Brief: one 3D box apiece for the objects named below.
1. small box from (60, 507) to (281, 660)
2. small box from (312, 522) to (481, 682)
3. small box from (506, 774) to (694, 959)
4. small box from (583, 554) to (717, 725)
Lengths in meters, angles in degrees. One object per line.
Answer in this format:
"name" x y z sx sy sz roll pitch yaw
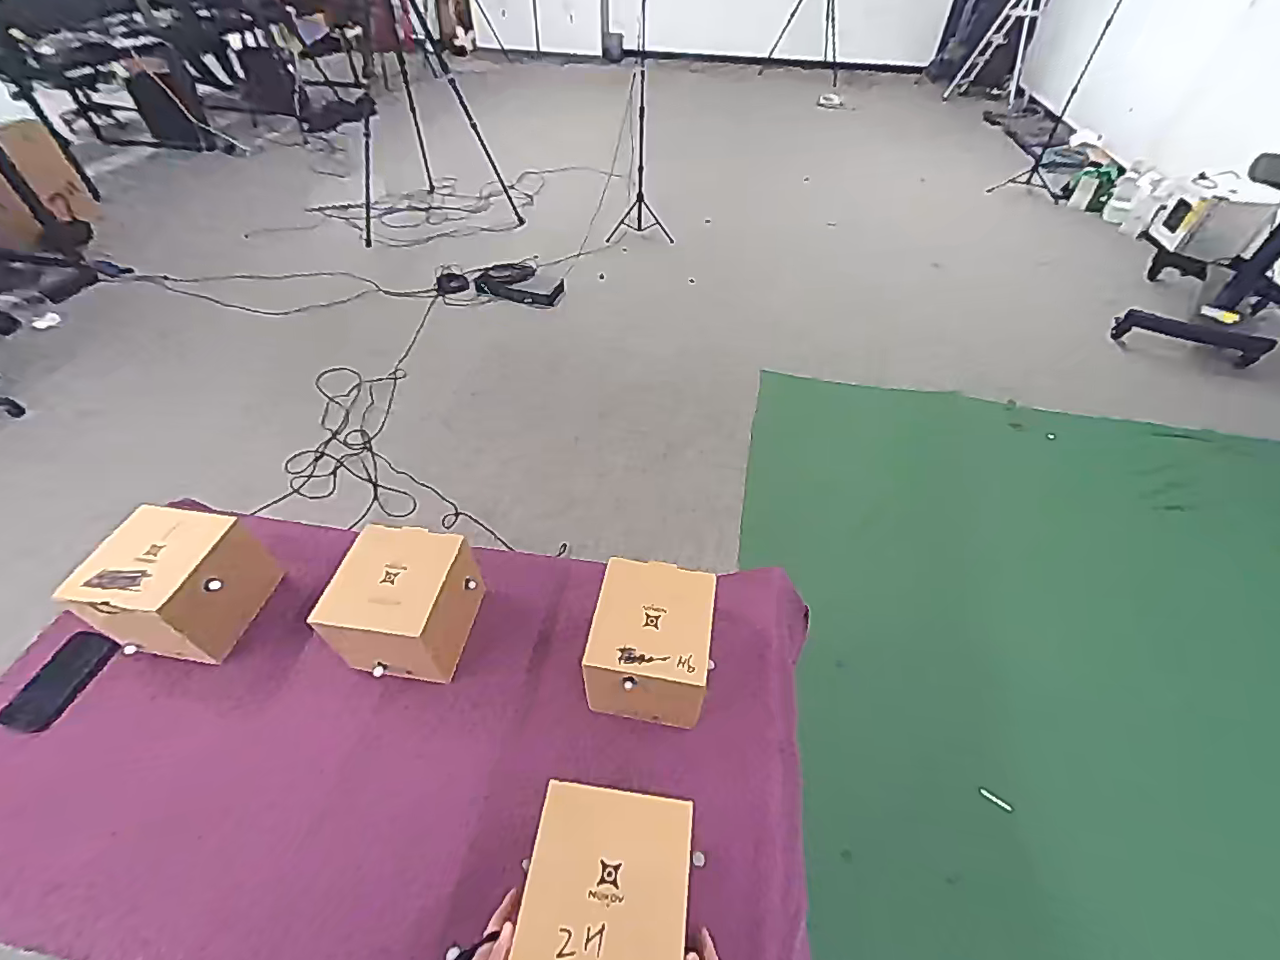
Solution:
"small box" -0.730 0.169 0.871 0.168 0.176 0.179 7 47 5
"small box" -0.365 0.194 0.855 0.168 0.176 0.179 6 49 6
"small box" -0.033 0.461 0.606 0.168 0.176 0.179 5 46 6
"small box" 0.019 0.240 0.814 0.168 0.176 0.179 7 48 7
